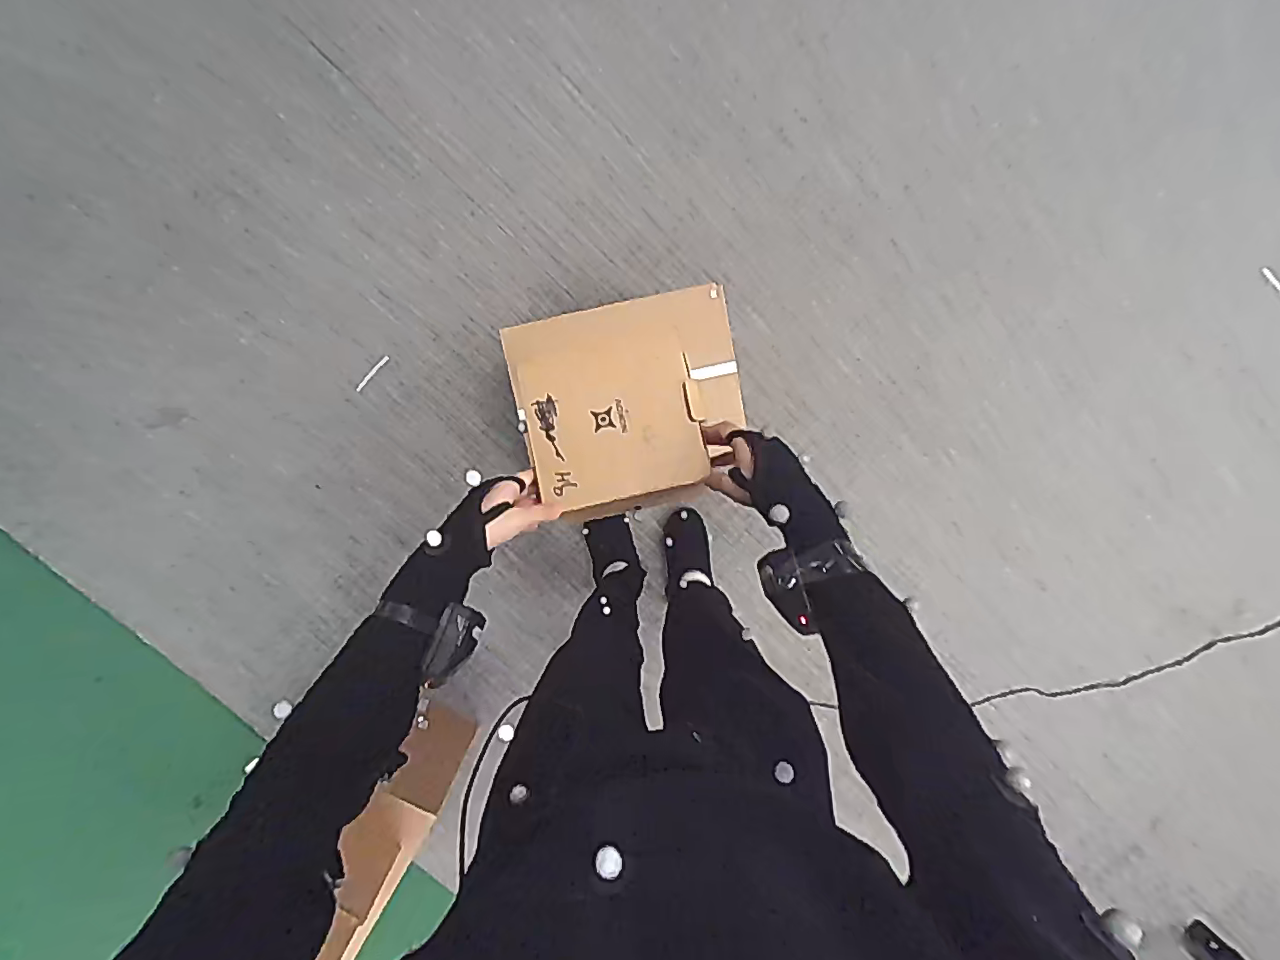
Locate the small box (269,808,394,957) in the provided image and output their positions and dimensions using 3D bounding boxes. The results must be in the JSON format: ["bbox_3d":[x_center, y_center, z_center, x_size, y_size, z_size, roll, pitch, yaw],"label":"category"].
[{"bbox_3d":[-0.586,0.745,0.980,0.179,0.176,0.168,35,94,-6],"label":"small box"}]

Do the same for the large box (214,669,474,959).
[{"bbox_3d":[-0.634,0.722,1.223,0.320,0.320,0.408,30,96,-4],"label":"large box"}]

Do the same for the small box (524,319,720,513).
[{"bbox_3d":[-0.018,-0.061,0.625,0.179,0.176,0.168,-12,82,1],"label":"small box"}]

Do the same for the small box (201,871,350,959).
[{"bbox_3d":[-0.584,0.758,0.818,0.168,0.176,0.179,37,94,-6],"label":"small box"}]
